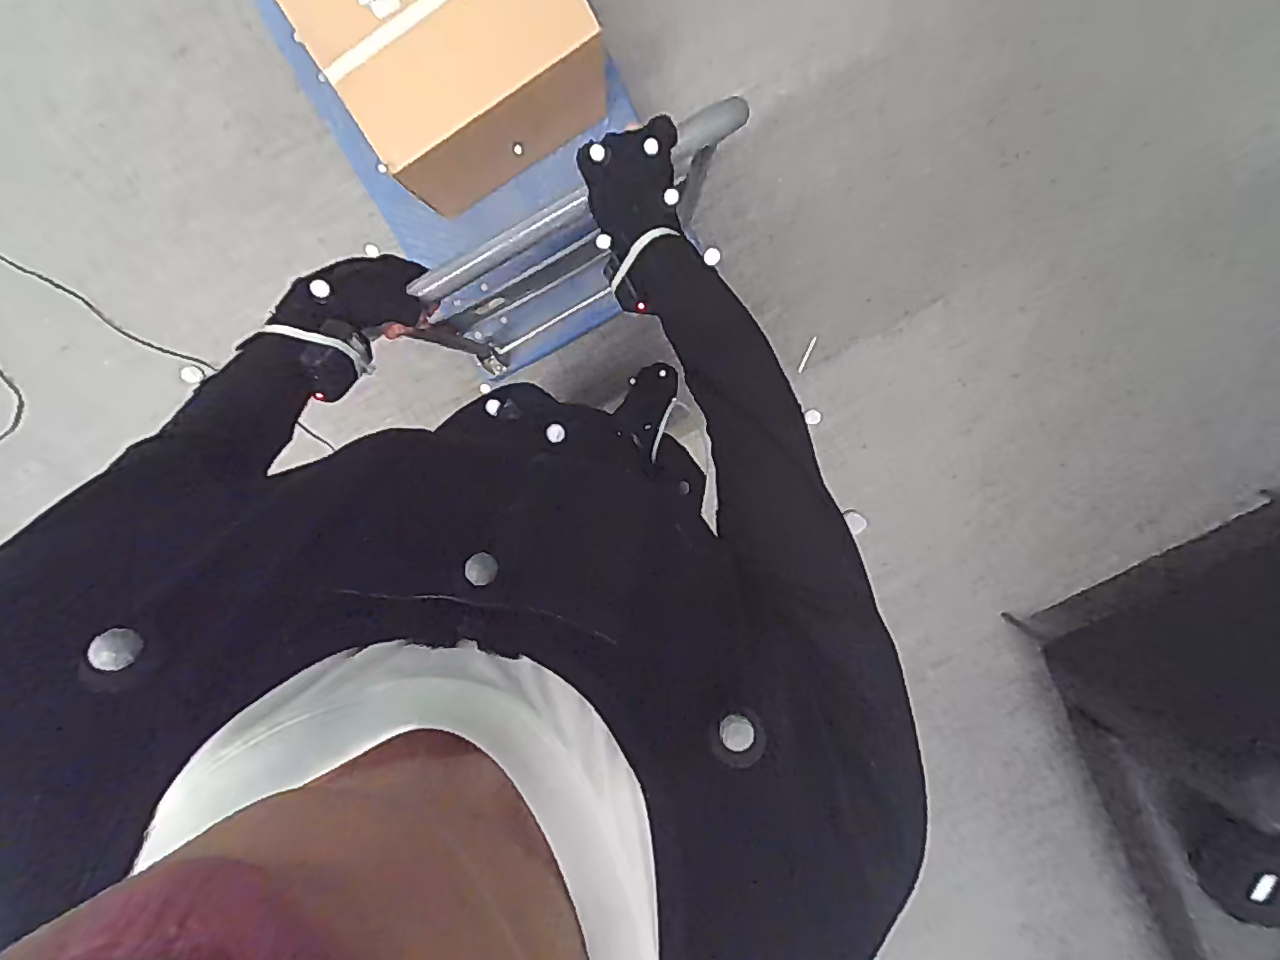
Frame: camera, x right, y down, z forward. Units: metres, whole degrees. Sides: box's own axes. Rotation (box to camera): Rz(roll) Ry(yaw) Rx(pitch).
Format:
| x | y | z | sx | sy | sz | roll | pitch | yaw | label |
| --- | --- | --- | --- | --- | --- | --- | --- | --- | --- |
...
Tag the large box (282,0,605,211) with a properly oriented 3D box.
| x | y | z | sx | sy | sz | roll | pitch | yaw | label |
| --- | --- | --- | --- | --- | --- | --- | --- | --- | --- |
| -0.309 | -0.762 | 0.963 | 0.408 | 0.320 | 0.320 | -31 | 102 | 5 | large box |
